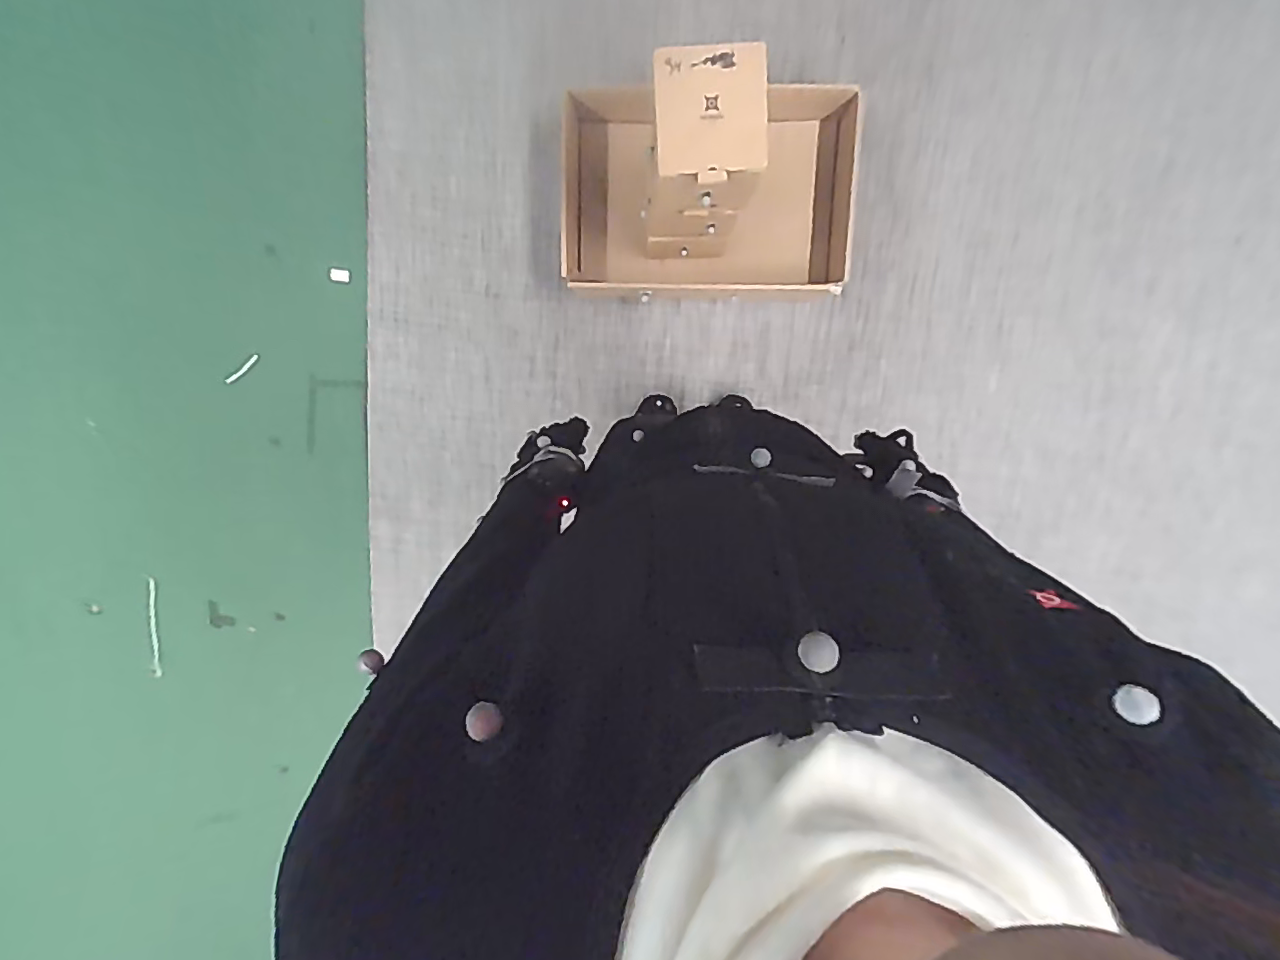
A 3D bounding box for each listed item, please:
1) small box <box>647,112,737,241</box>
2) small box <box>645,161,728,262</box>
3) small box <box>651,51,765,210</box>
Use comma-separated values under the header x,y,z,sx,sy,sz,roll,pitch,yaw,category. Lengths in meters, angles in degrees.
x,y,z,sx,sy,sz,roll,pitch,yaw,category
0.099,-0.573,1.041,0.168,0.176,0.179,1,98,0,small box
0.101,-0.590,1.201,0.179,0.176,0.168,1,99,3,small box
0.102,-0.551,0.878,0.168,0.176,0.179,-1,100,1,small box
